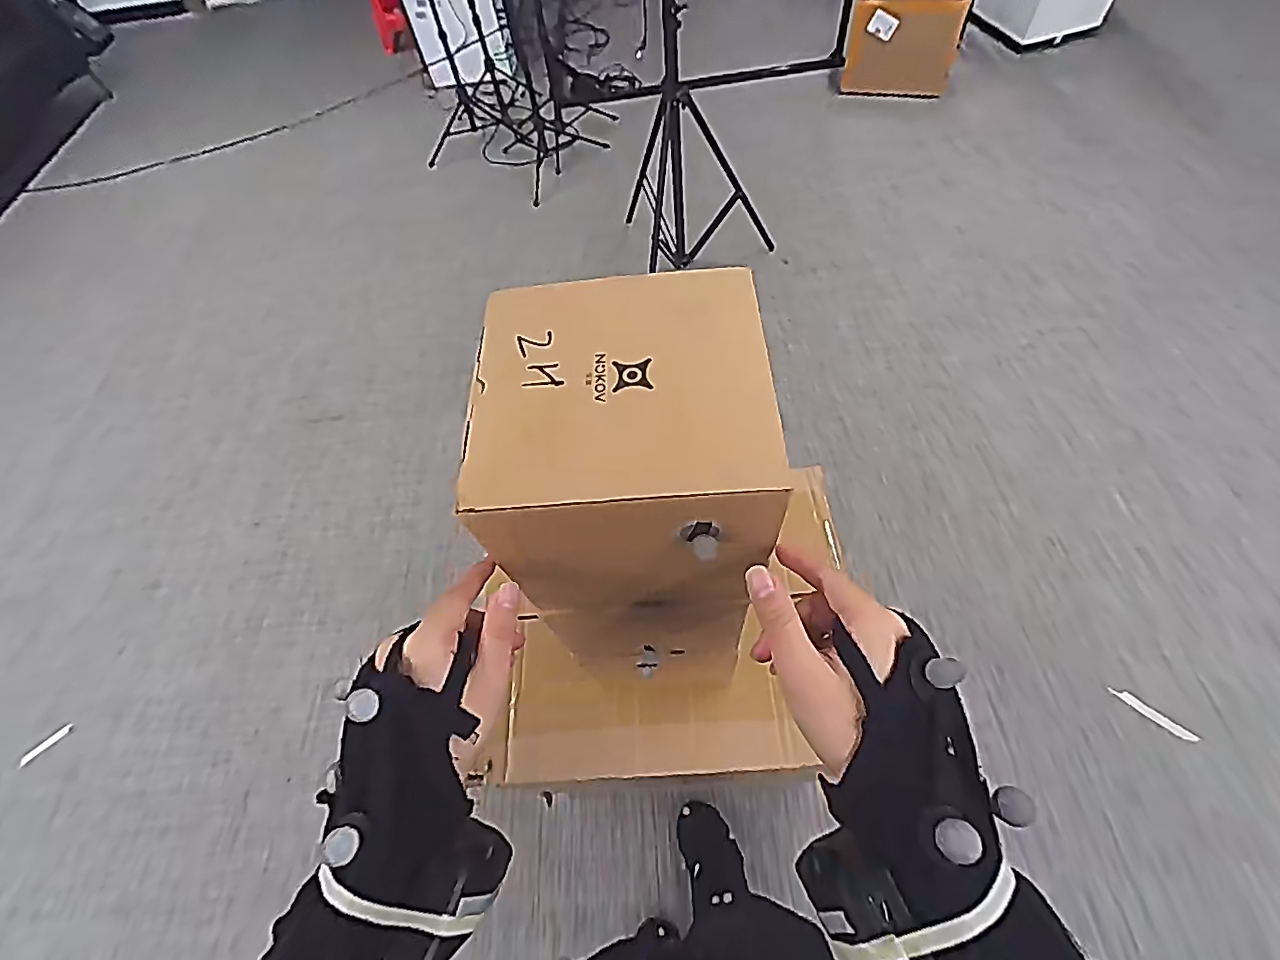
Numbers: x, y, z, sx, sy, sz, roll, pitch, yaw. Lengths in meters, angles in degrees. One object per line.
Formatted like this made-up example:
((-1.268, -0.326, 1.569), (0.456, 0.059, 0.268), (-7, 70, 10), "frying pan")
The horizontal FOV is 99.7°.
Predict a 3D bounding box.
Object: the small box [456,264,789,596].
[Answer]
((-0.005, -0.024, 0.385), (0.179, 0.176, 0.168), (-5, 59, 4), "small box")

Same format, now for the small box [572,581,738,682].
((0.022, 0.147, 0.666), (0.179, 0.176, 0.168), (-4, 59, 4), "small box")
